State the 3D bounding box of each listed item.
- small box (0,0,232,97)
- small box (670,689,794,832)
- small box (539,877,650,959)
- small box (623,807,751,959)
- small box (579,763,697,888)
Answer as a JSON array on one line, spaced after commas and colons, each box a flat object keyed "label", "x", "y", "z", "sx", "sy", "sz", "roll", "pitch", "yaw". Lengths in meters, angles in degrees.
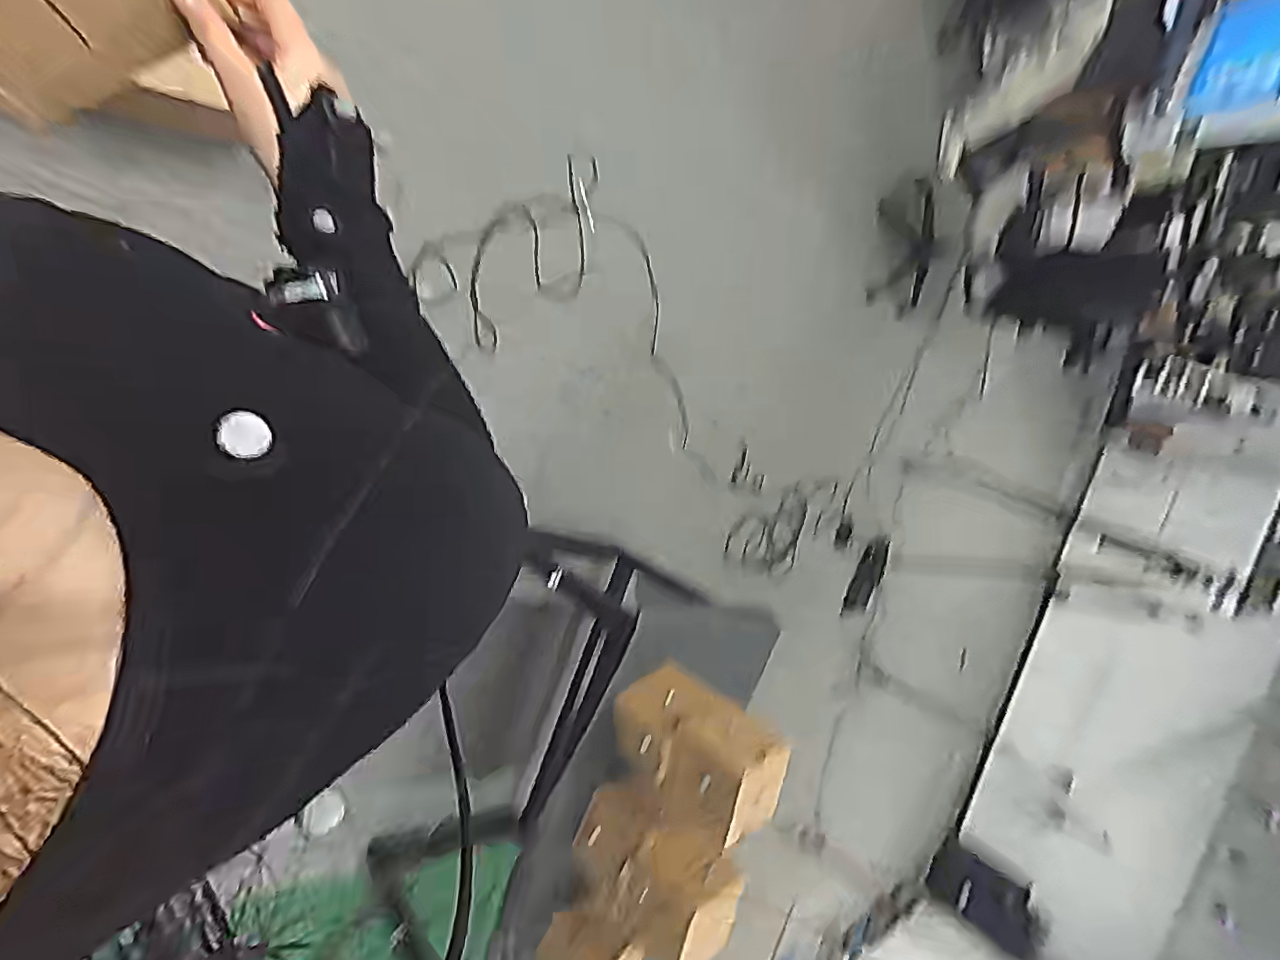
[{"label": "small box", "x": -0.368, "y": -0.380, "z": 0.309, "sx": 0.168, "sy": 0.176, "sz": 0.179, "roll": -21, "pitch": 153, "yaw": 5}, {"label": "small box", "x": 0.181, "y": 0.549, "z": 1.094, "sx": 0.168, "sy": 0.176, "sz": 0.179, "roll": -1, "pitch": 105, "yaw": -42}, {"label": "small box", "x": -0.113, "y": 1.089, "z": 1.264, "sx": 0.168, "sy": 0.176, "sz": 0.179, "roll": 17, "pitch": 93, "yaw": -45}, {"label": "small box", "x": 0.096, "y": 0.824, "z": 1.124, "sx": 0.179, "sy": 0.176, "sz": 0.168, "roll": 7, "pitch": 100, "yaw": -43}, {"label": "small box", "x": -0.007, "y": 0.776, "z": 1.240, "sx": 0.179, "sy": 0.176, "sz": 0.168, "roll": 23, "pitch": 89, "yaw": -45}]
